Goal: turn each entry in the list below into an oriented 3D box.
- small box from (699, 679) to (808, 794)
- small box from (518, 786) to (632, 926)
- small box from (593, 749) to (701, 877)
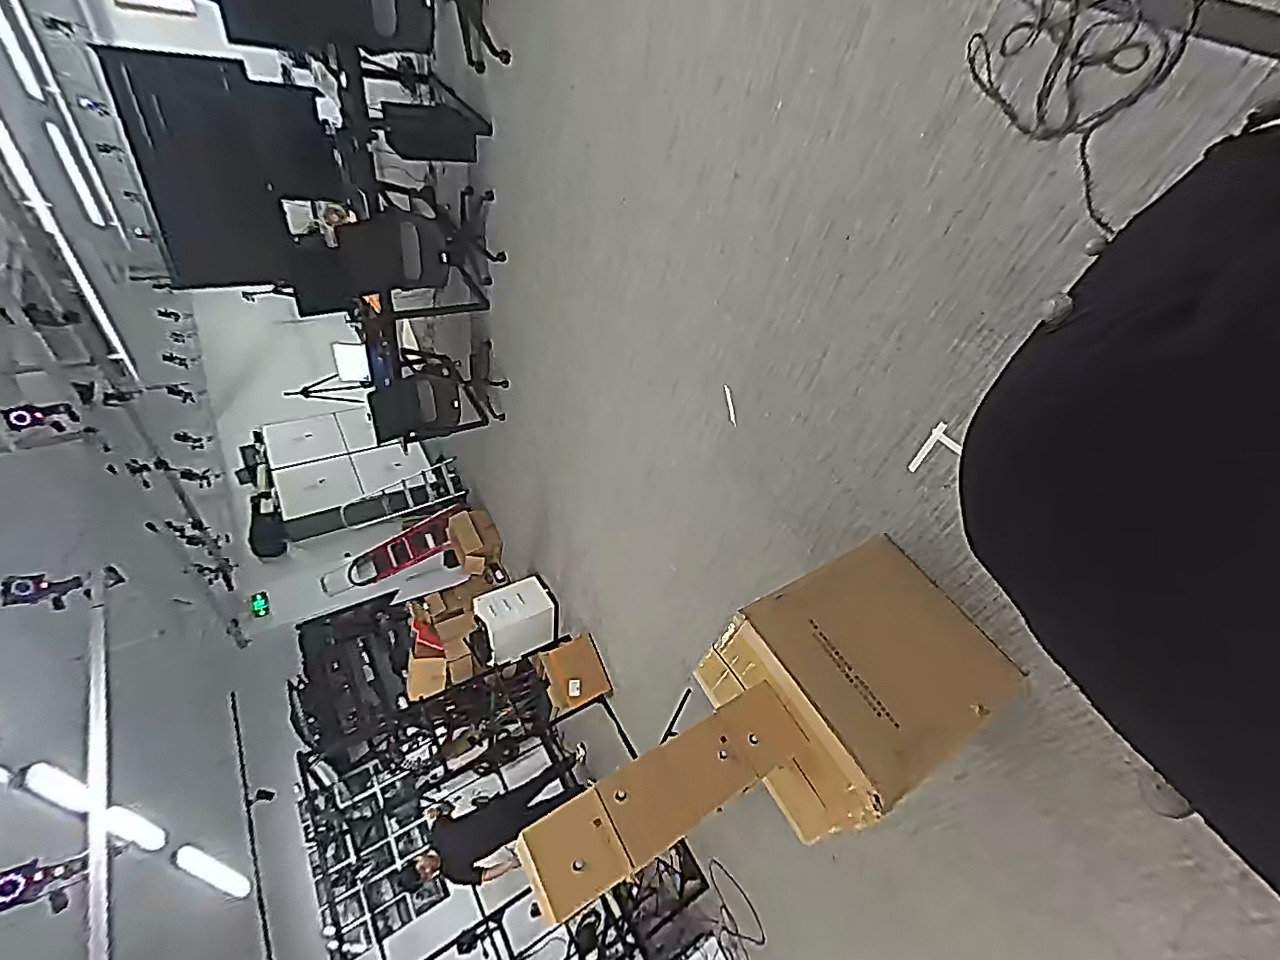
[{"bbox_3d":[0.280,0.629,1.335,0.179,0.176,0.168,54,146,30],"label":"small box"},{"bbox_3d":[-0.134,0.763,1.105,0.168,0.176,0.179,54,146,31],"label":"small box"},{"bbox_3d":[0.003,0.717,1.181,0.179,0.176,0.168,54,146,30],"label":"small box"}]
